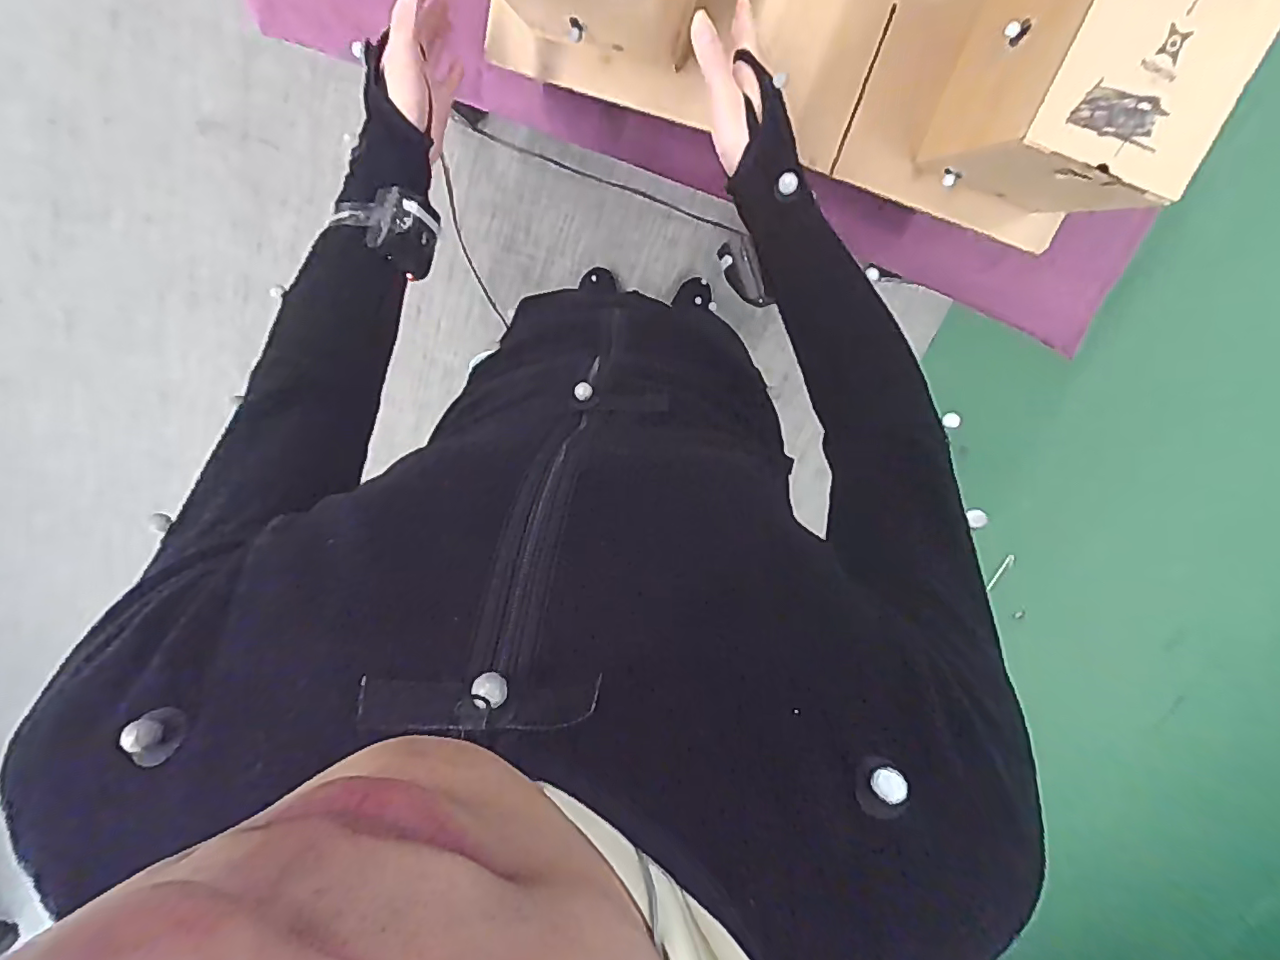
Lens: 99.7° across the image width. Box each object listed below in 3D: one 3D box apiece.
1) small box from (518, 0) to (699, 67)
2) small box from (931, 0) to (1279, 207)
[{"bbox_3d":[-0.025,-0.492,0.453,0.168,0.176,0.179,17,114,4],"label":"small box"},{"bbox_3d":[0.410,-0.371,0.502,0.168,0.176,0.179,13,111,-12],"label":"small box"}]
